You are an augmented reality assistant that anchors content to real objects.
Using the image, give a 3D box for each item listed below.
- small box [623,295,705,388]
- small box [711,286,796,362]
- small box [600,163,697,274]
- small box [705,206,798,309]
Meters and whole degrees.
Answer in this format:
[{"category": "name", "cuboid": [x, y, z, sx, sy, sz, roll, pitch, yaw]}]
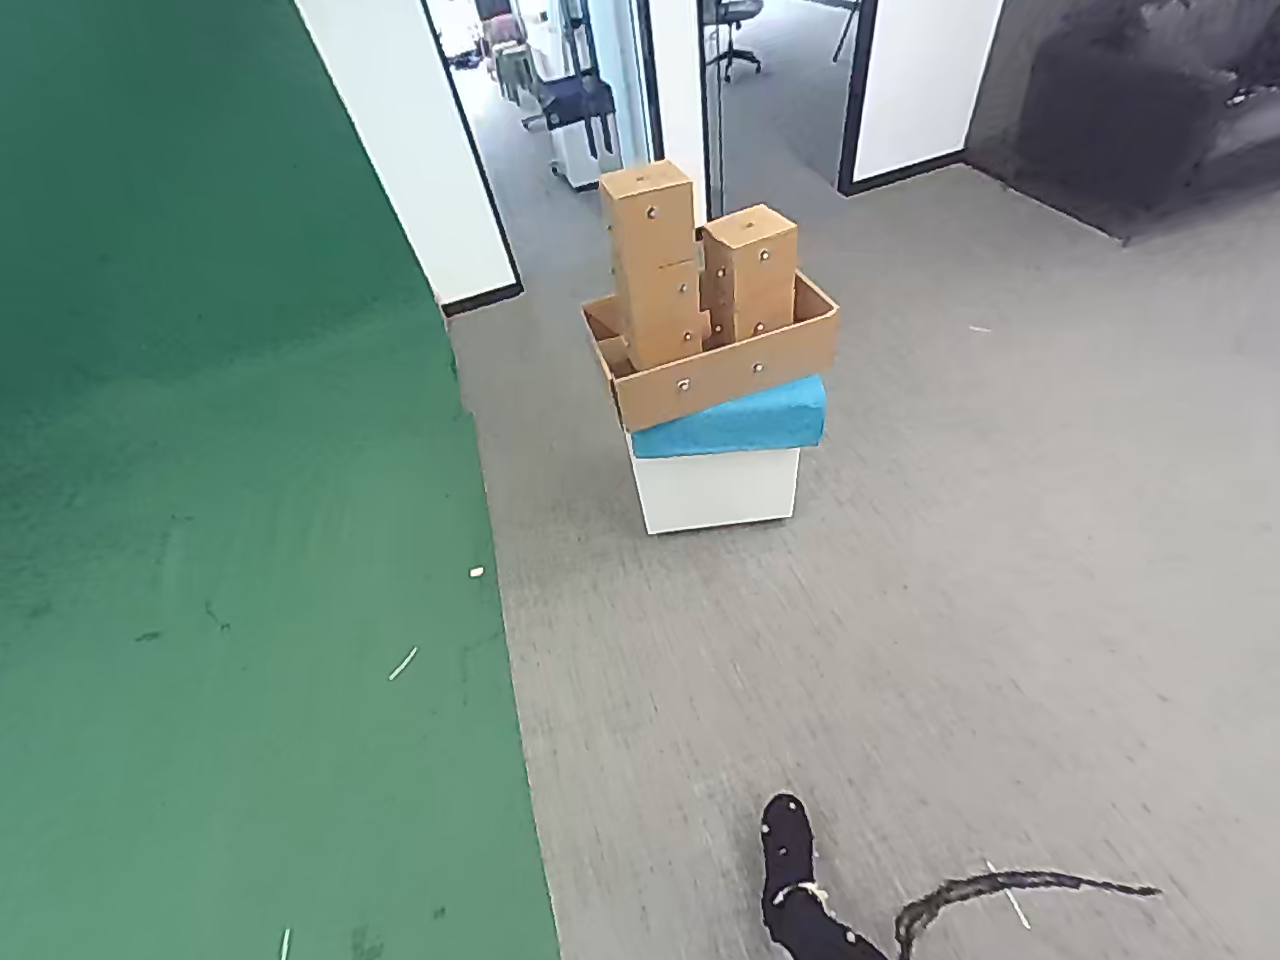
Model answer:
[{"category": "small box", "cuboid": [0.070, -0.375, 1.478, 0.179, 0.176, 0.168, -18, 47, -6]}, {"category": "small box", "cuboid": [0.314, -0.453, 1.490, 0.179, 0.176, 0.168, -22, 48, -5]}, {"category": "small box", "cuboid": [0.022, -0.596, 1.240, 0.179, 0.176, 0.168, -16, 47, -5]}, {"category": "small box", "cuboid": [0.283, -0.561, 1.371, 0.179, 0.176, 0.168, -22, 48, -7]}]
